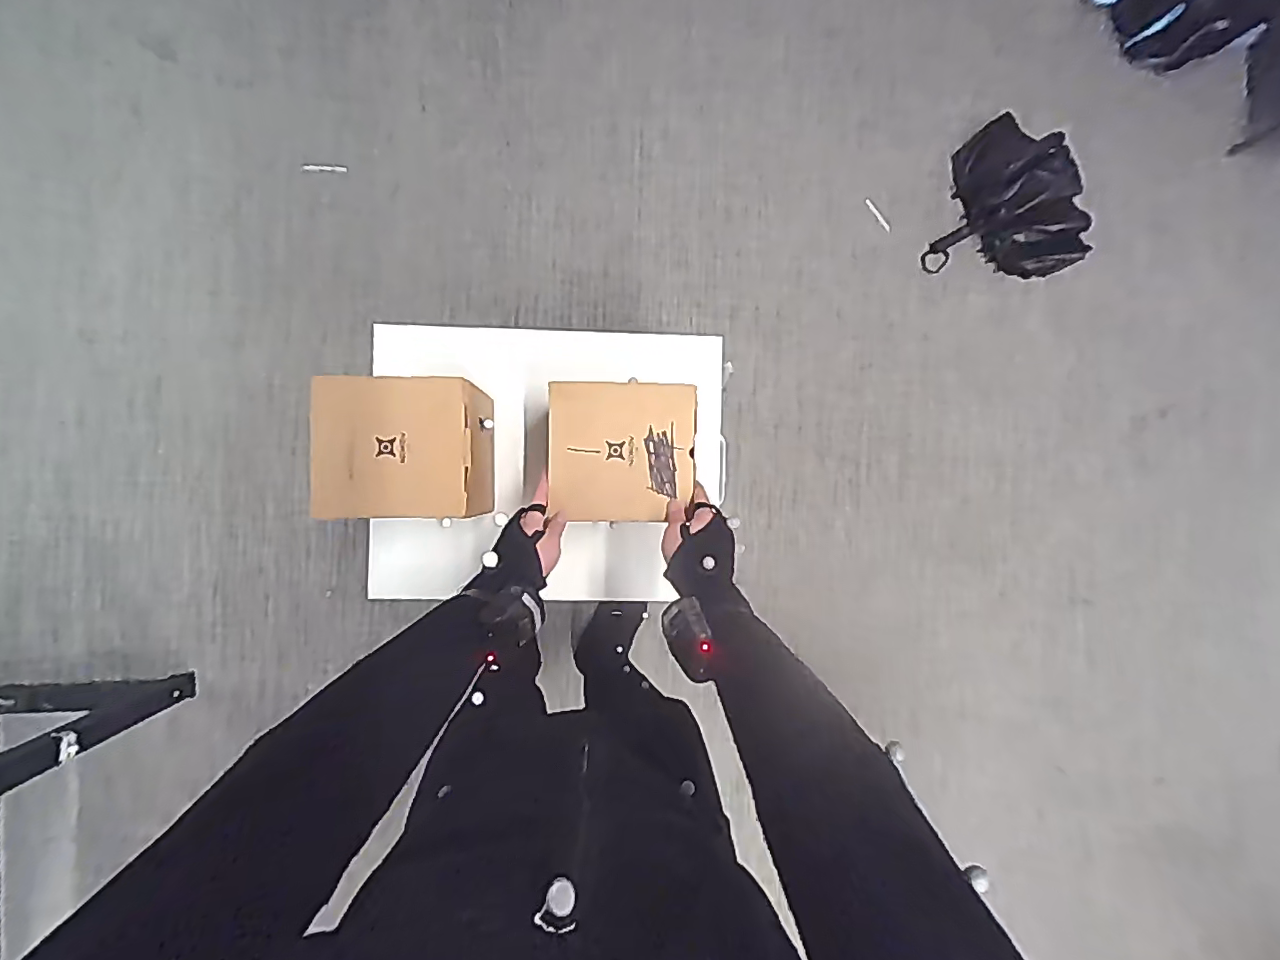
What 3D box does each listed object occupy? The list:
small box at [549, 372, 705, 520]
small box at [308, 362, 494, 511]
[{"bbox_3d":[-0.020,-0.039,0.704,0.179,0.176,0.168,2,89,-3],"label":"small box"},{"bbox_3d":[-0.285,-0.047,0.684,0.179,0.176,0.168,0,88,-5],"label":"small box"}]
